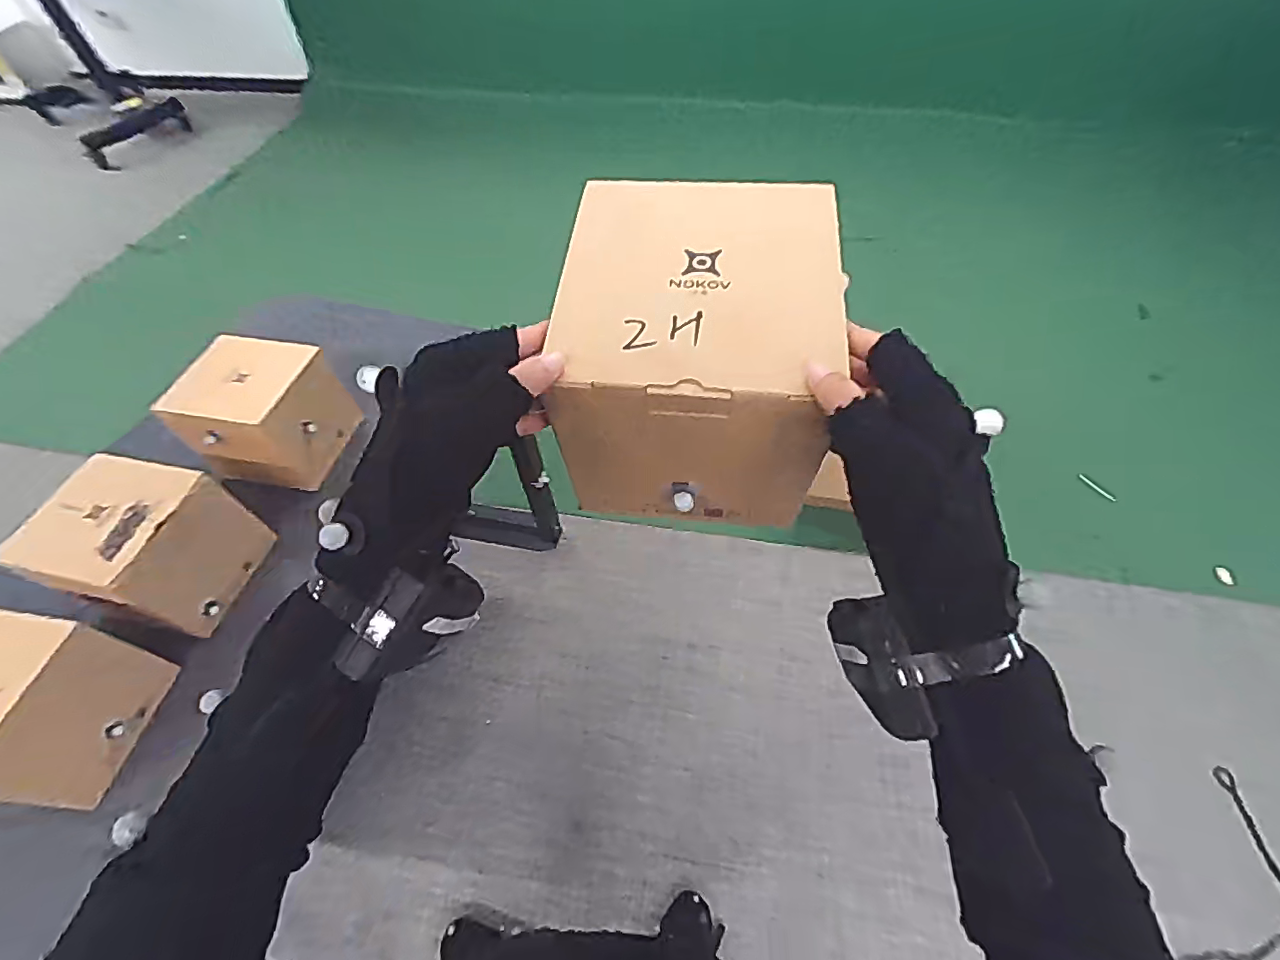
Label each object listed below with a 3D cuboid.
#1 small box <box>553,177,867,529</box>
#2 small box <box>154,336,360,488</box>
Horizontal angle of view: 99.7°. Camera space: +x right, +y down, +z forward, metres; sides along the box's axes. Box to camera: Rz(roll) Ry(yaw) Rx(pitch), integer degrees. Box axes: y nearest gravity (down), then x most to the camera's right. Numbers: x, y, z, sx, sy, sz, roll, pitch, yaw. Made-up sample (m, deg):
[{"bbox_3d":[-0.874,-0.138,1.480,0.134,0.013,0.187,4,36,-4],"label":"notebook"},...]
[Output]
[{"bbox_3d":[0.049,-0.083,0.387,0.168,0.176,0.179,5,62,7],"label":"small box"},{"bbox_3d":[-0.592,-0.104,0.869,0.179,0.176,0.168,8,56,8],"label":"small box"}]
